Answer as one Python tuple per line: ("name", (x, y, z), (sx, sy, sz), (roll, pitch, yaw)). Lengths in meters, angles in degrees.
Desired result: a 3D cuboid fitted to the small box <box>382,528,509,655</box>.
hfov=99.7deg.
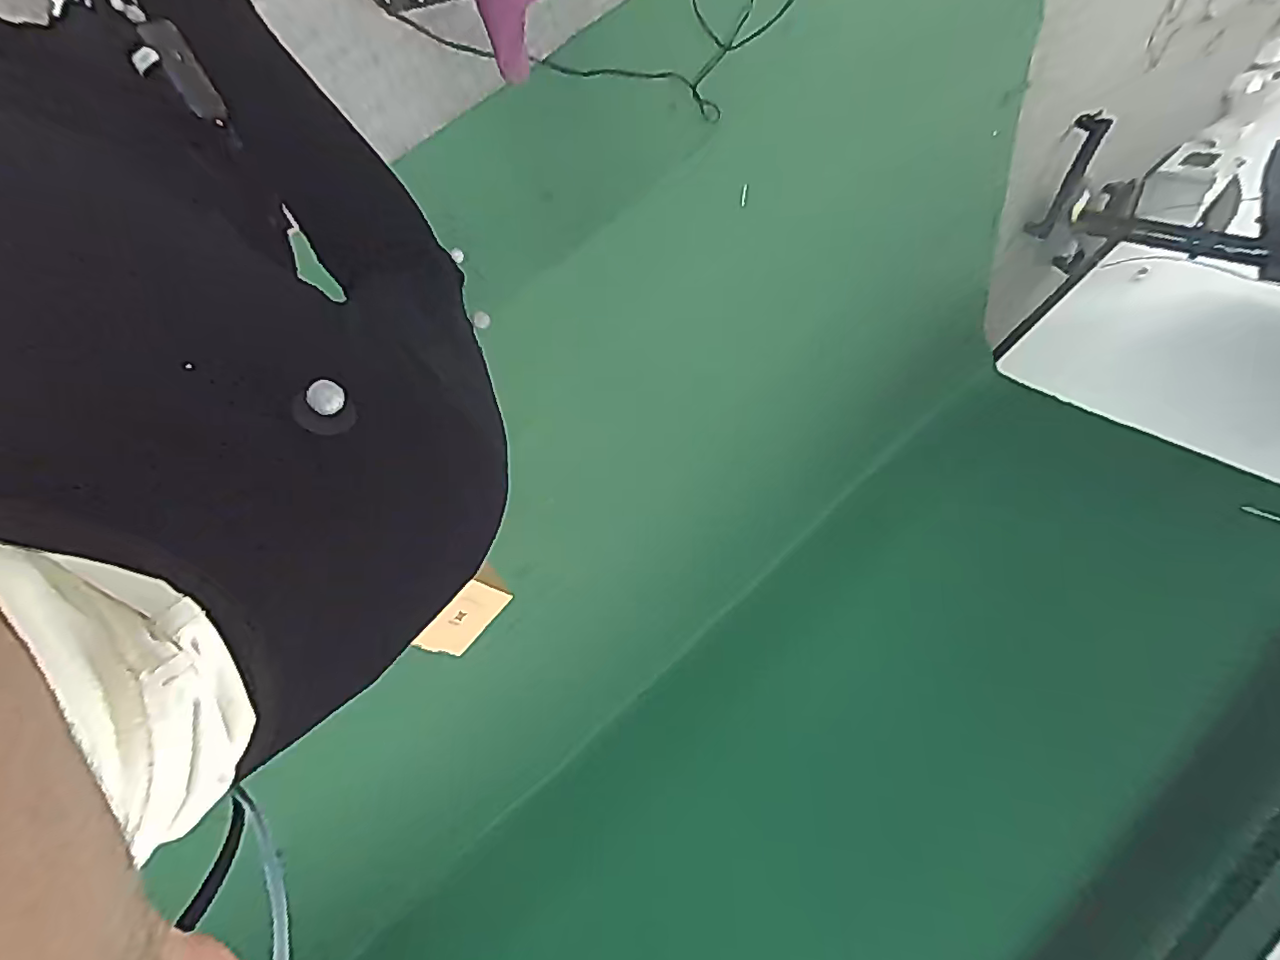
("small box", (-0.419, 0.236, 1.150), (0.179, 0.176, 0.168), (-48, 141, -2))
